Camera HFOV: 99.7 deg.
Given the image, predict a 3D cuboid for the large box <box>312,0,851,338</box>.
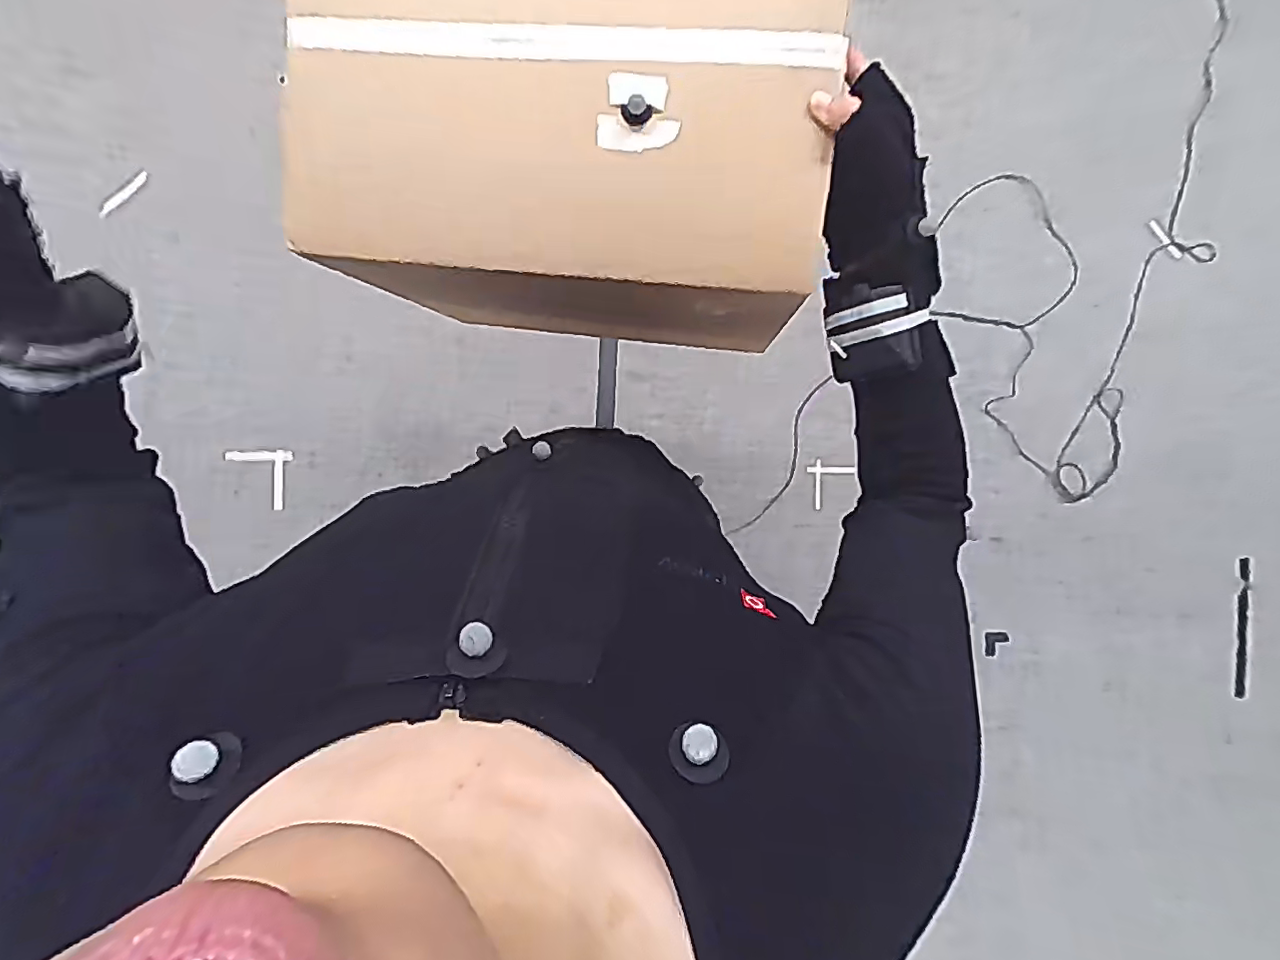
[{"bbox_3d":[-0.038,-0.336,0.546,0.408,0.320,0.320,7,97,5],"label":"large box"}]
